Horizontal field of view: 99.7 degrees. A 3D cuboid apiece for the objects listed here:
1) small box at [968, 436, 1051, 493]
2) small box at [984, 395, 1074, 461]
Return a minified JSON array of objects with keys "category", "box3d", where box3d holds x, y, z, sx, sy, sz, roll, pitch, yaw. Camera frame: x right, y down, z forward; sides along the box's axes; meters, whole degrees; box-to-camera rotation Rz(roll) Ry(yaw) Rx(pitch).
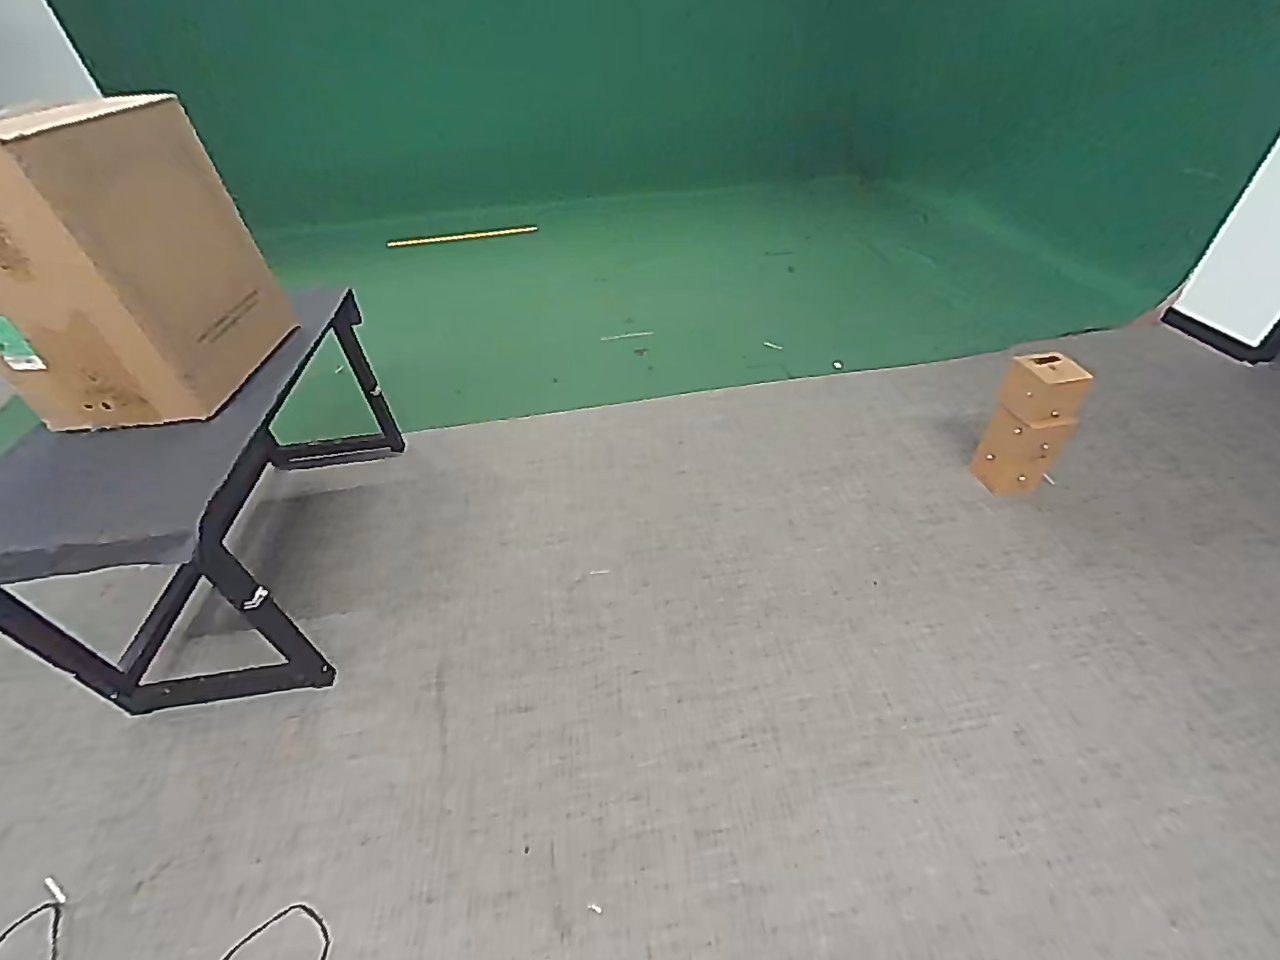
[{"category":"small box","box3d":[1.404,-0.064,2.065,0.168,0.176,0.179,-10,43,-6]},{"category":"small box","box3d":[1.393,-0.181,1.949,0.168,0.176,0.179,-9,43,-6]}]
